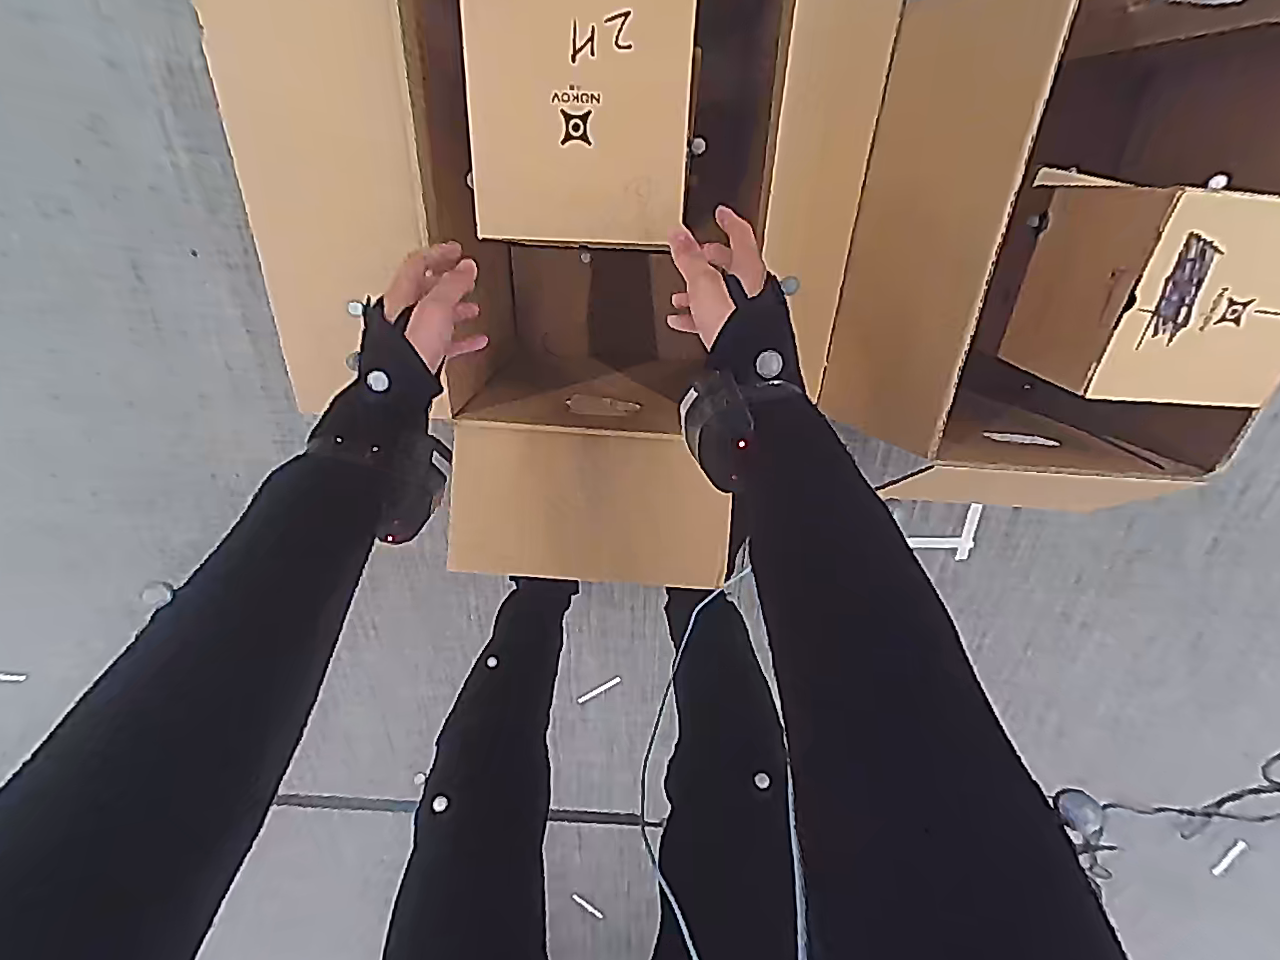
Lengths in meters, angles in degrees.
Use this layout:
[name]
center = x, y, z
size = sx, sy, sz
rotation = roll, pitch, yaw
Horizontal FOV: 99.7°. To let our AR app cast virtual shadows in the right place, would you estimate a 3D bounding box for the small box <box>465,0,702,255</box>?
[small box]
center = -0.038, -0.294, 0.468
size = 0.168, 0.176, 0.179
rotation = 3, 112, 1
